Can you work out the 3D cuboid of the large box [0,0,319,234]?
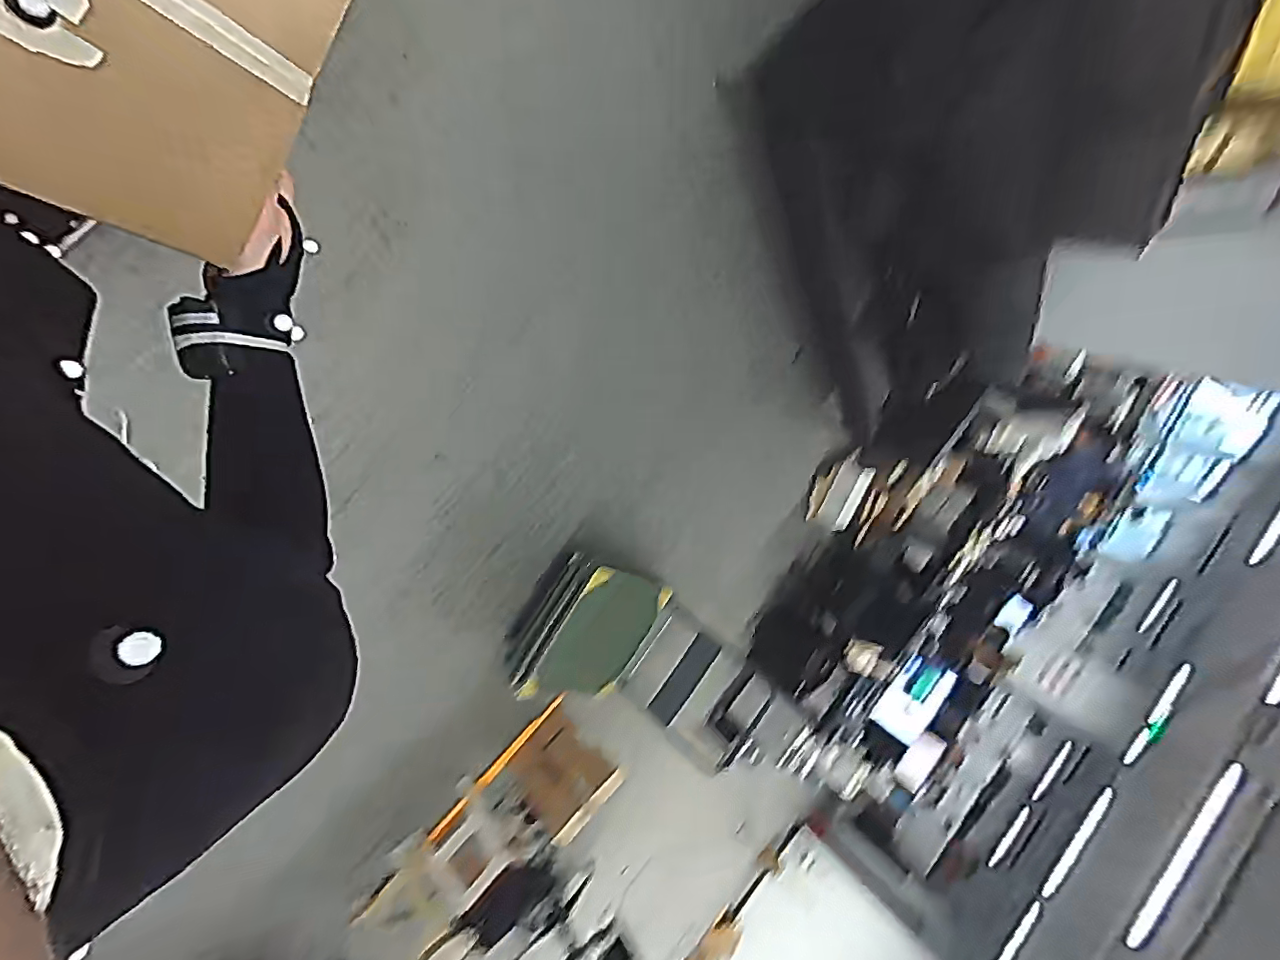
[{"bbox_3d":[-0.457,-0.424,0.304,0.320,0.320,0.408,-53,152,17],"label":"large box"}]
